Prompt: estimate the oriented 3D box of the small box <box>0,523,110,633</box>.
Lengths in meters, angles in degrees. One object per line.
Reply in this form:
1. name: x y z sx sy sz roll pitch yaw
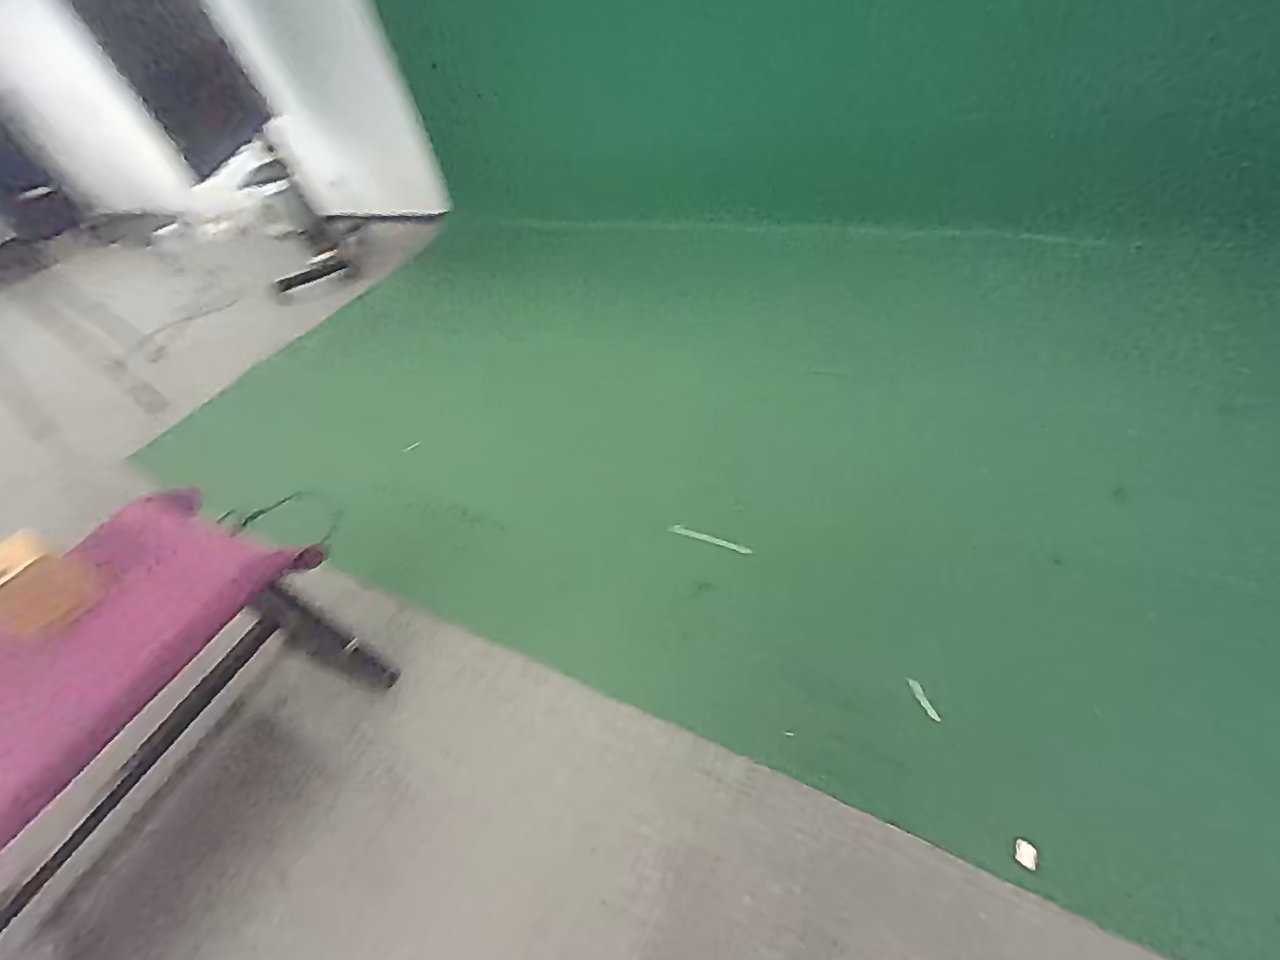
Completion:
1. small box: -1.422 0.235 1.274 0.179 0.176 0.168 20 55 29
